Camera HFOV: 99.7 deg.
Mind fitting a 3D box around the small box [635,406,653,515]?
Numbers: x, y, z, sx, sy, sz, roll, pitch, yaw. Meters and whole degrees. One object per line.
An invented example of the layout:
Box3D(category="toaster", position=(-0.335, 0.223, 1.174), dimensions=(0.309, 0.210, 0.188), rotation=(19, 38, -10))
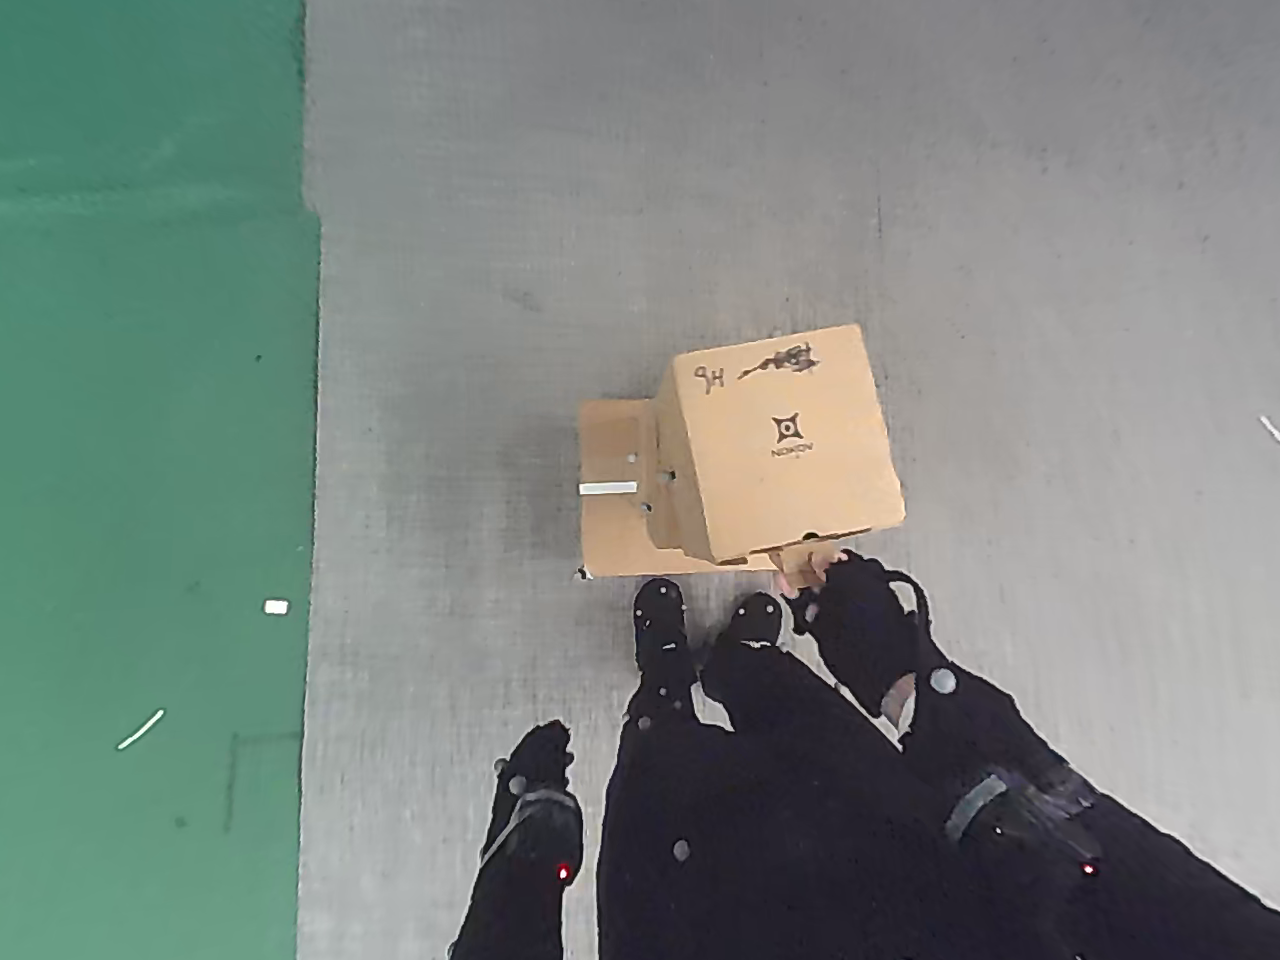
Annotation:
Box3D(category="small box", position=(0.088, -0.022, 0.865), dimensions=(0.179, 0.176, 0.168), rotation=(5, 89, -2))

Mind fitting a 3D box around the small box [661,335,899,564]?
Box3D(category="small box", position=(0.120, -0.022, 0.534), dimensions=(0.168, 0.176, 0.179), rotation=(-10, 85, -5))

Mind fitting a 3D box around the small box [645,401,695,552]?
Box3D(category="small box", position=(0.095, -0.007, 0.706), dimensions=(0.168, 0.176, 0.179), rotation=(-2, 90, -4))
